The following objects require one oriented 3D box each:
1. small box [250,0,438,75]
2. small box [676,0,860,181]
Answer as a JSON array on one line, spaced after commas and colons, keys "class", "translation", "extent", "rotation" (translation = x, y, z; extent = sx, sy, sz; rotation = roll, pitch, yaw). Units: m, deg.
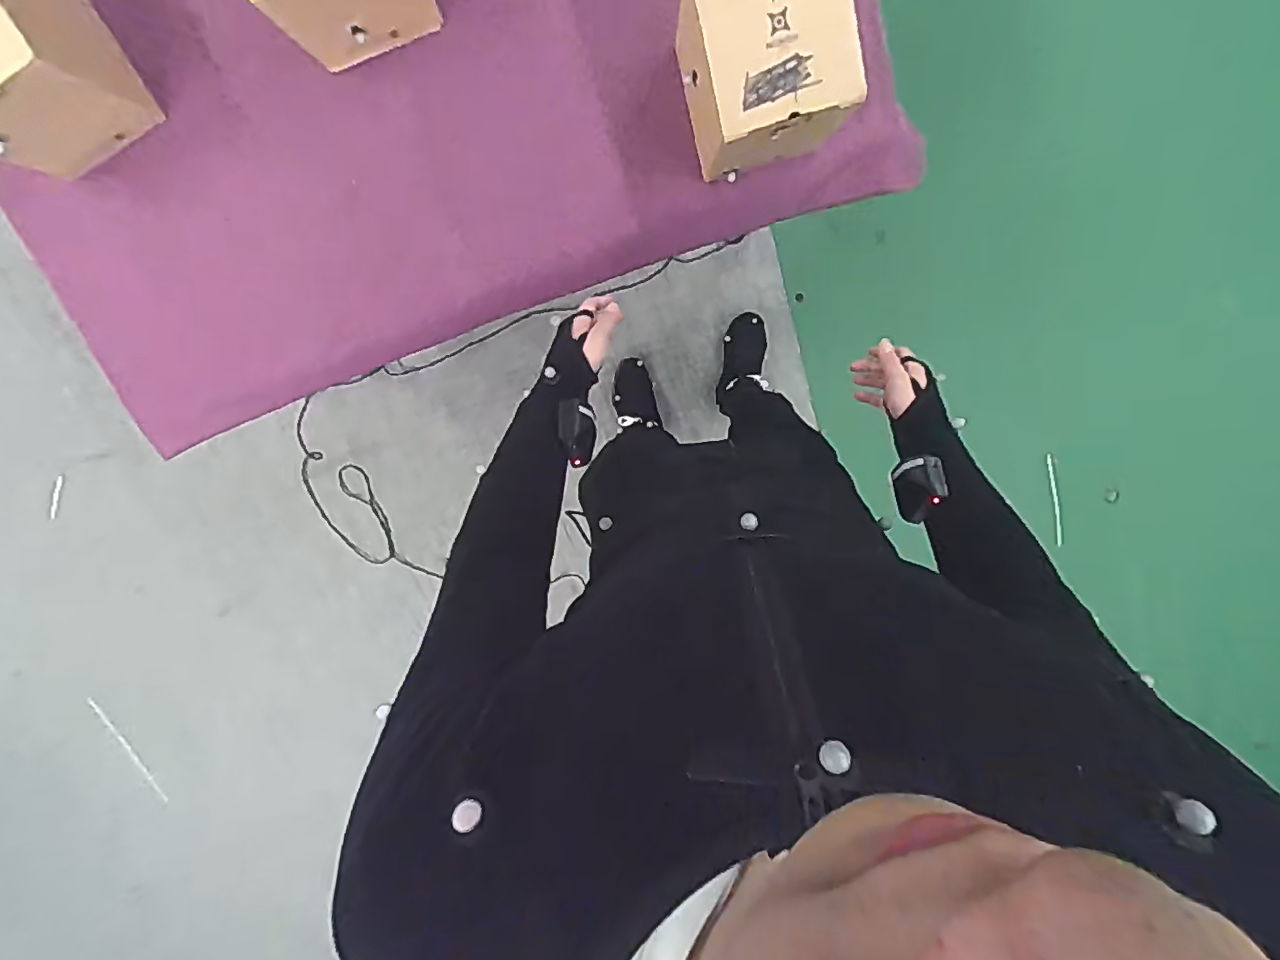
[{"class": "small box", "translation": [-0.359, -0.616, 0.615], "extent": [0.168, 0.176, 0.179], "rotation": [-20, 106, 3]}, {"class": "small box", "translation": [0.146, -0.491, 0.663], "extent": [0.168, 0.176, 0.179], "rotation": [-15, 103, 3]}]
